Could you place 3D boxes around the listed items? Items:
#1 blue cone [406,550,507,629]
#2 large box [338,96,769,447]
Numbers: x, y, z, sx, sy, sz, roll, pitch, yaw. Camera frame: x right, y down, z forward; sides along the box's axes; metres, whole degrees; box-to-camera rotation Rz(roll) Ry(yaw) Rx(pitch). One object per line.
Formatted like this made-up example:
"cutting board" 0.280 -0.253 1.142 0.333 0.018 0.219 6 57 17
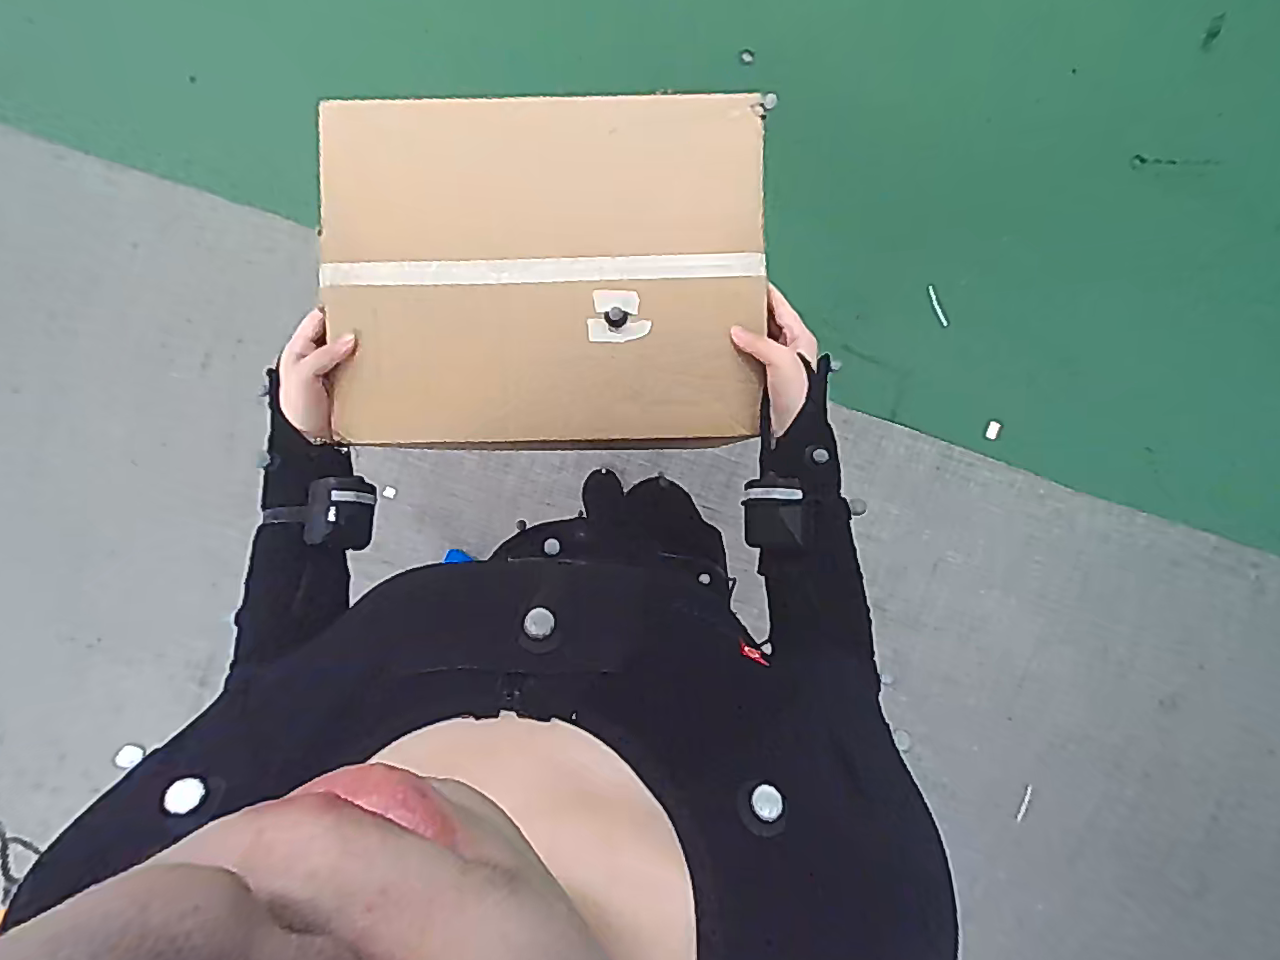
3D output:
"blue cone" -0.490 0.309 1.351 0.193 0.380 0.192 28 90 0
"large box" -0.083 -0.205 0.653 0.408 0.320 0.320 -1 92 -1
